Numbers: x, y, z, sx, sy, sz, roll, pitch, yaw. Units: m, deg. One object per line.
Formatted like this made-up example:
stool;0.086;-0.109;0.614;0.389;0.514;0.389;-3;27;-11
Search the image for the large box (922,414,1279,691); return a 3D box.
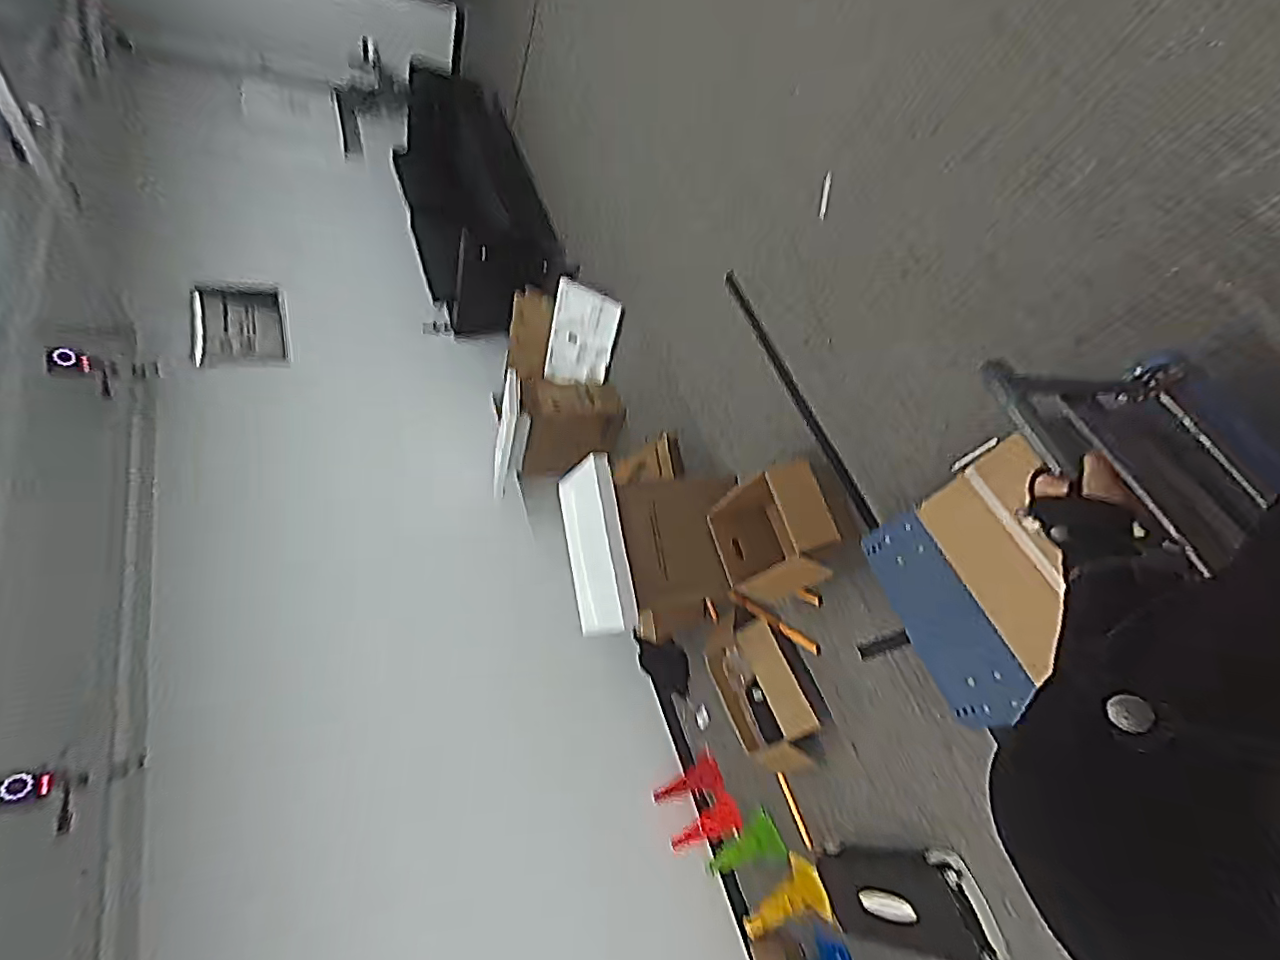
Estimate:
large box;0.860;0.126;1.033;0.408;0.320;0.320;67;148;29
